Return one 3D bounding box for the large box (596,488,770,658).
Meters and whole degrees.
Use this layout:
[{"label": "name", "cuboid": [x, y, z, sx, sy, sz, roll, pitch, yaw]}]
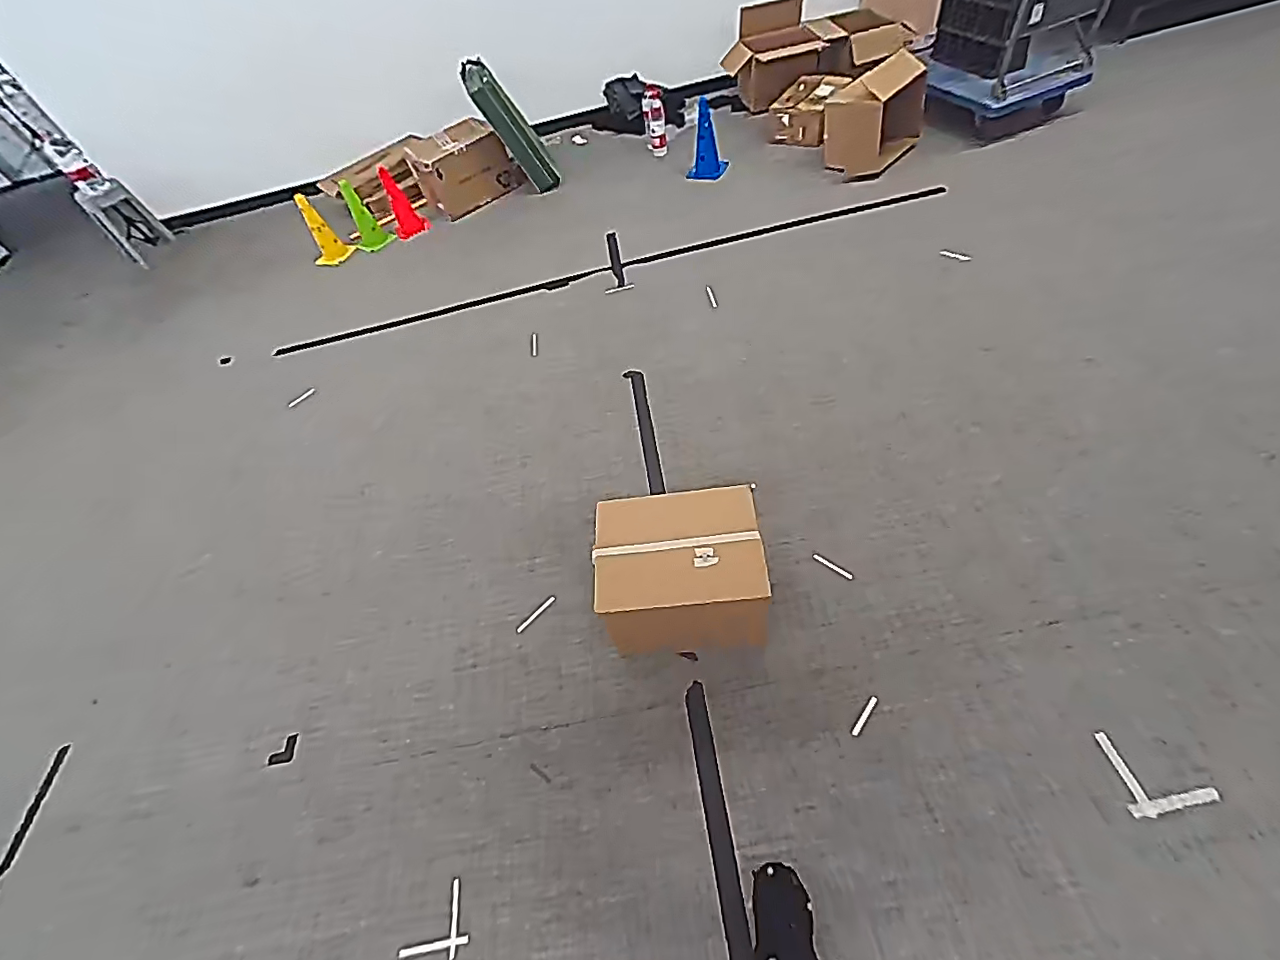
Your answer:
[{"label": "large box", "cuboid": [0.110, 0.253, 1.420, 0.408, 0.320, 0.320, -6, 53, 6]}]
